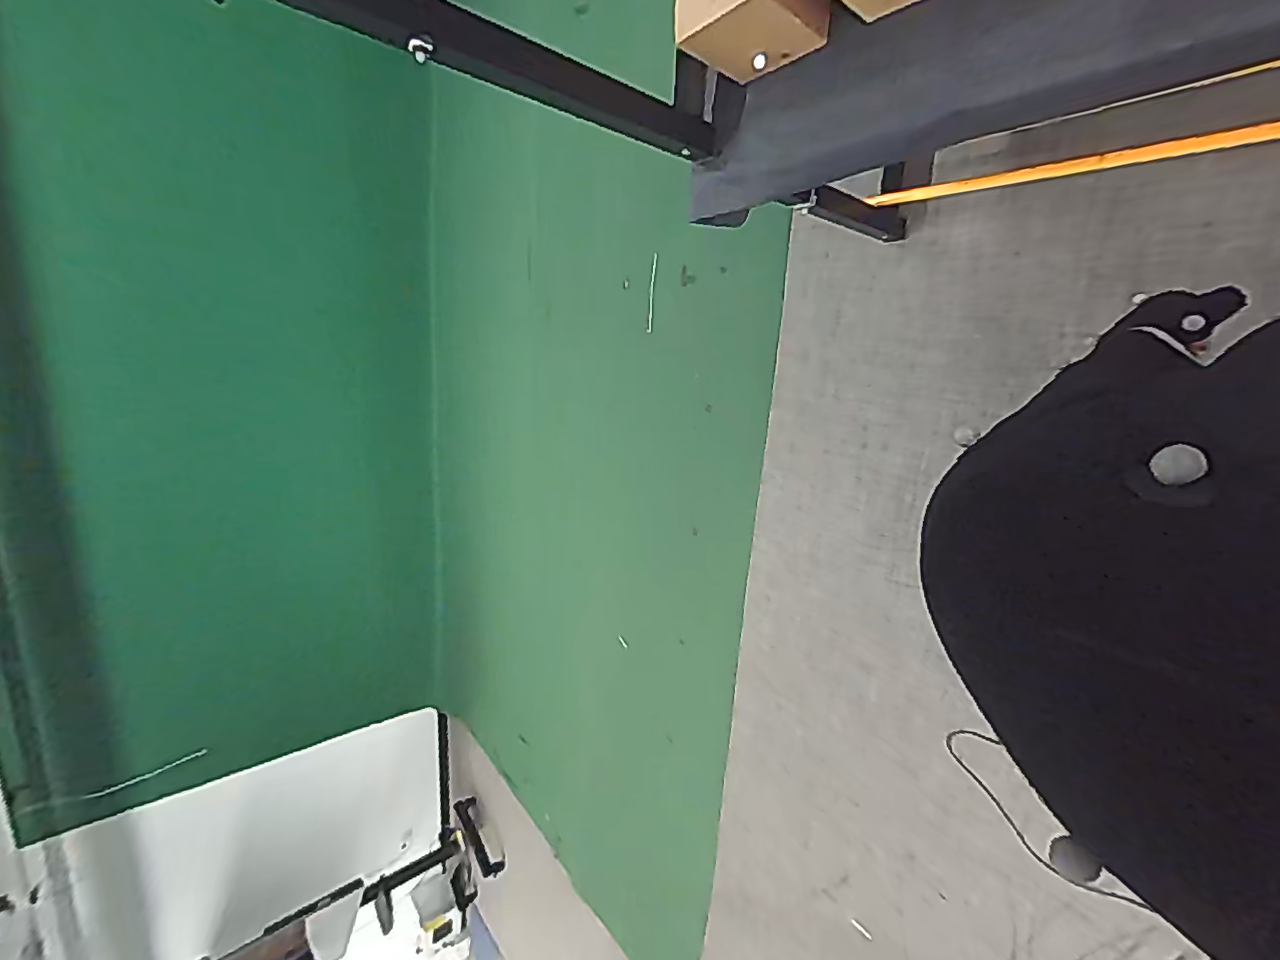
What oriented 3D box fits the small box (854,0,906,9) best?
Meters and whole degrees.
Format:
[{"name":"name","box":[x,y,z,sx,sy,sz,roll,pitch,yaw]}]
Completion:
[{"name":"small box","box":[0.321,-0.707,0.636,0.168,0.176,0.179,18,108,48]}]

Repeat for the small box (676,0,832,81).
[{"name":"small box","box":[0.174,-0.747,0.805,0.168,0.176,0.179,14,107,49]}]
